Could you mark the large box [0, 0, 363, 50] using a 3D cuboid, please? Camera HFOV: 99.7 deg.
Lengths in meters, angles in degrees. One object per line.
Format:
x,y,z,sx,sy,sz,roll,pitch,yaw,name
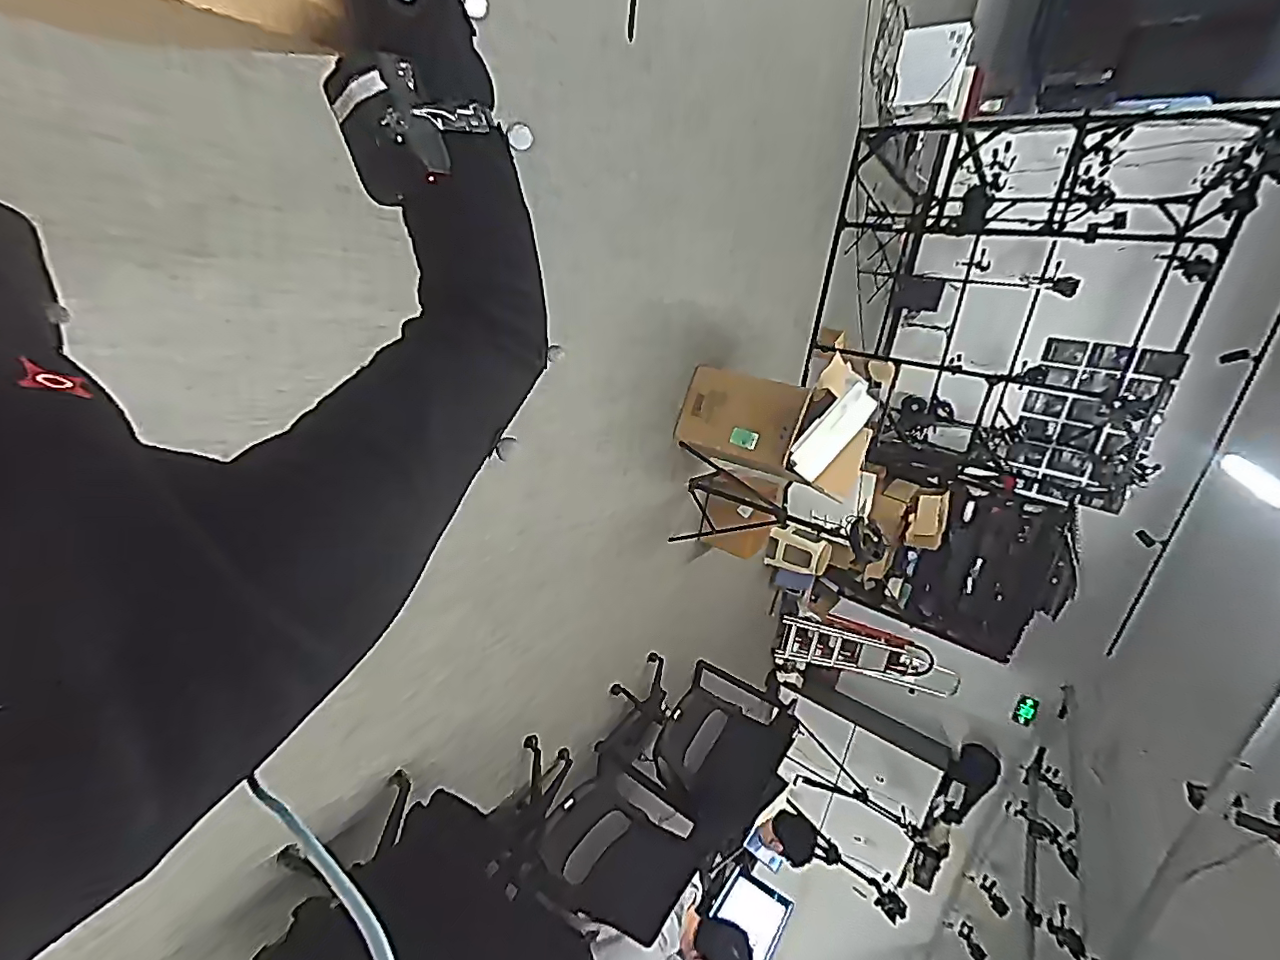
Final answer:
-0.378,-0.384,0.171,0.408,0.320,0.320,-31,139,-52,large box
